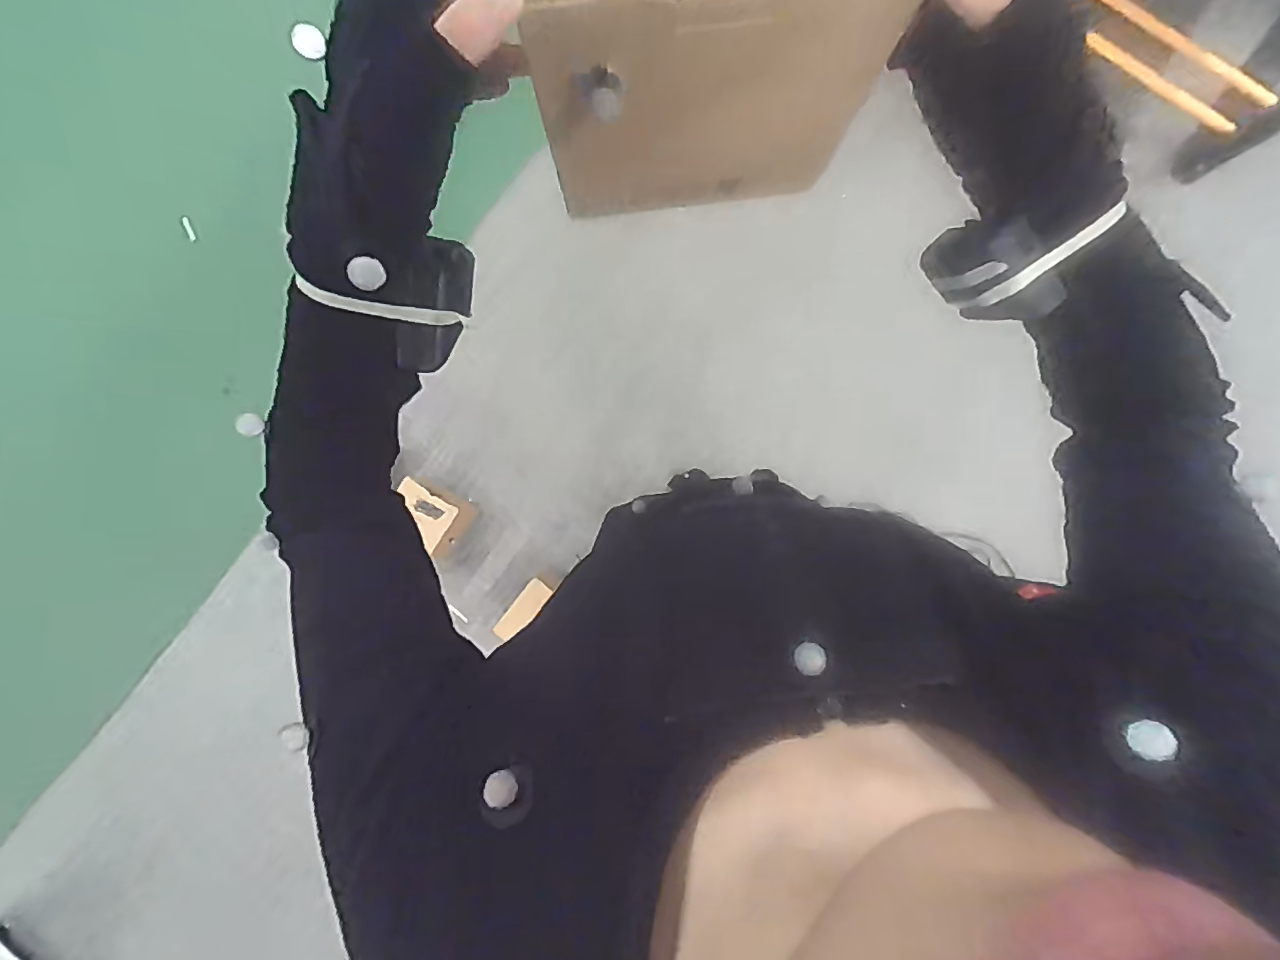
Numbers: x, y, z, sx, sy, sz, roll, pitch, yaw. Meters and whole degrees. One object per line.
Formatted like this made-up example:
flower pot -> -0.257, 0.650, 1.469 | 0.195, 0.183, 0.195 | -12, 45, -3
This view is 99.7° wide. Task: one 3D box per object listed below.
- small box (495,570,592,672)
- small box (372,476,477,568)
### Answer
small box -> -0.240, 0.357, 1.402 | 0.168, 0.176, 0.179 | 38, 89, 2
small box -> -0.555, 0.107, 1.426 | 0.168, 0.176, 0.179 | 33, 90, 3
